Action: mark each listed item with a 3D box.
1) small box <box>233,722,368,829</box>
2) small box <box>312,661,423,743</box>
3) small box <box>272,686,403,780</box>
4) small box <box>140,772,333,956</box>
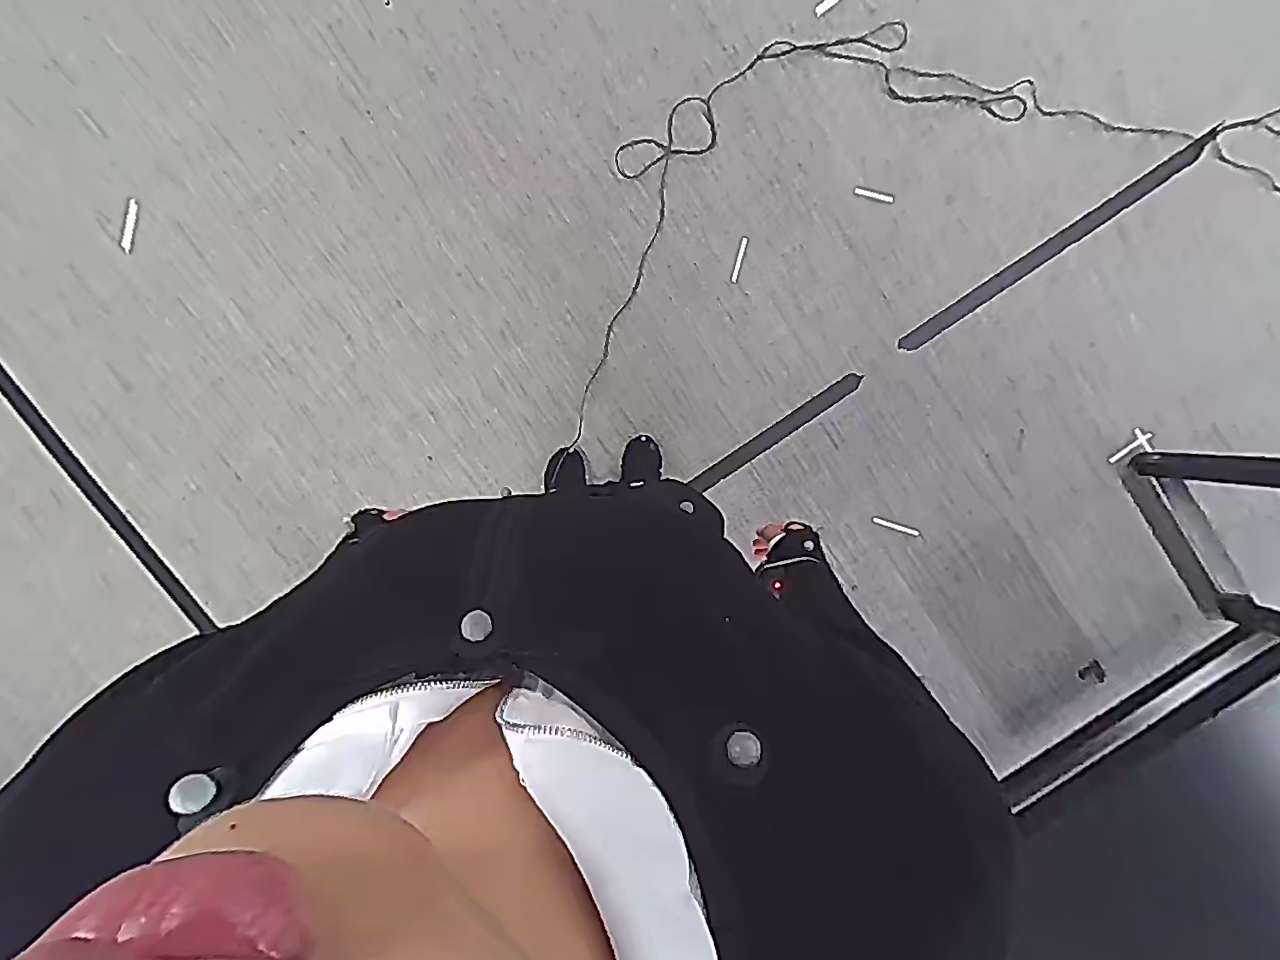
[{"bbox_3d":[-0.698,0.642,1.117,0.179,0.176,0.168,-35,95,1],"label":"small box"},{"bbox_3d":[-0.714,0.620,1.442,0.168,0.176,0.179,-35,95,0],"label":"small box"},{"bbox_3d":[-0.703,0.629,1.278,0.179,0.176,0.168,-35,96,0],"label":"small box"},{"bbox_3d":[-0.695,0.655,0.953,0.168,0.176,0.179,-36,94,0],"label":"small box"}]
